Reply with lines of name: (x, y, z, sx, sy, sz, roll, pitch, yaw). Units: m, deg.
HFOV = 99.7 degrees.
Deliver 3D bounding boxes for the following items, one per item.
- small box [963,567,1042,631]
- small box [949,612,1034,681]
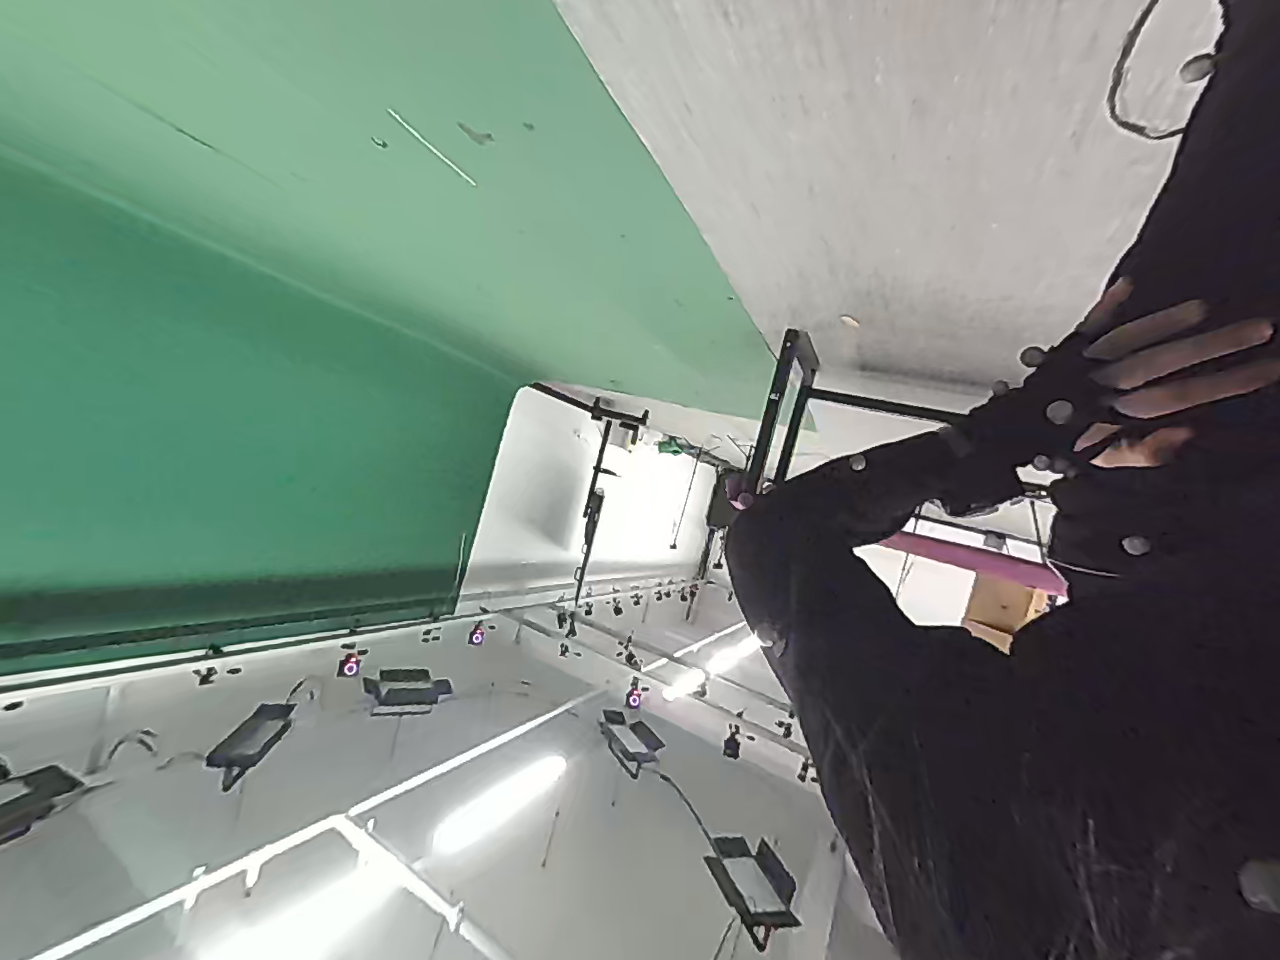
small box: (1.234, 0.398, 1.830, 0.168, 0.176, 0.179, 14, -179, -41)
small box: (1.187, 0.557, 1.817, 0.168, 0.176, 0.179, 14, -178, -29)
